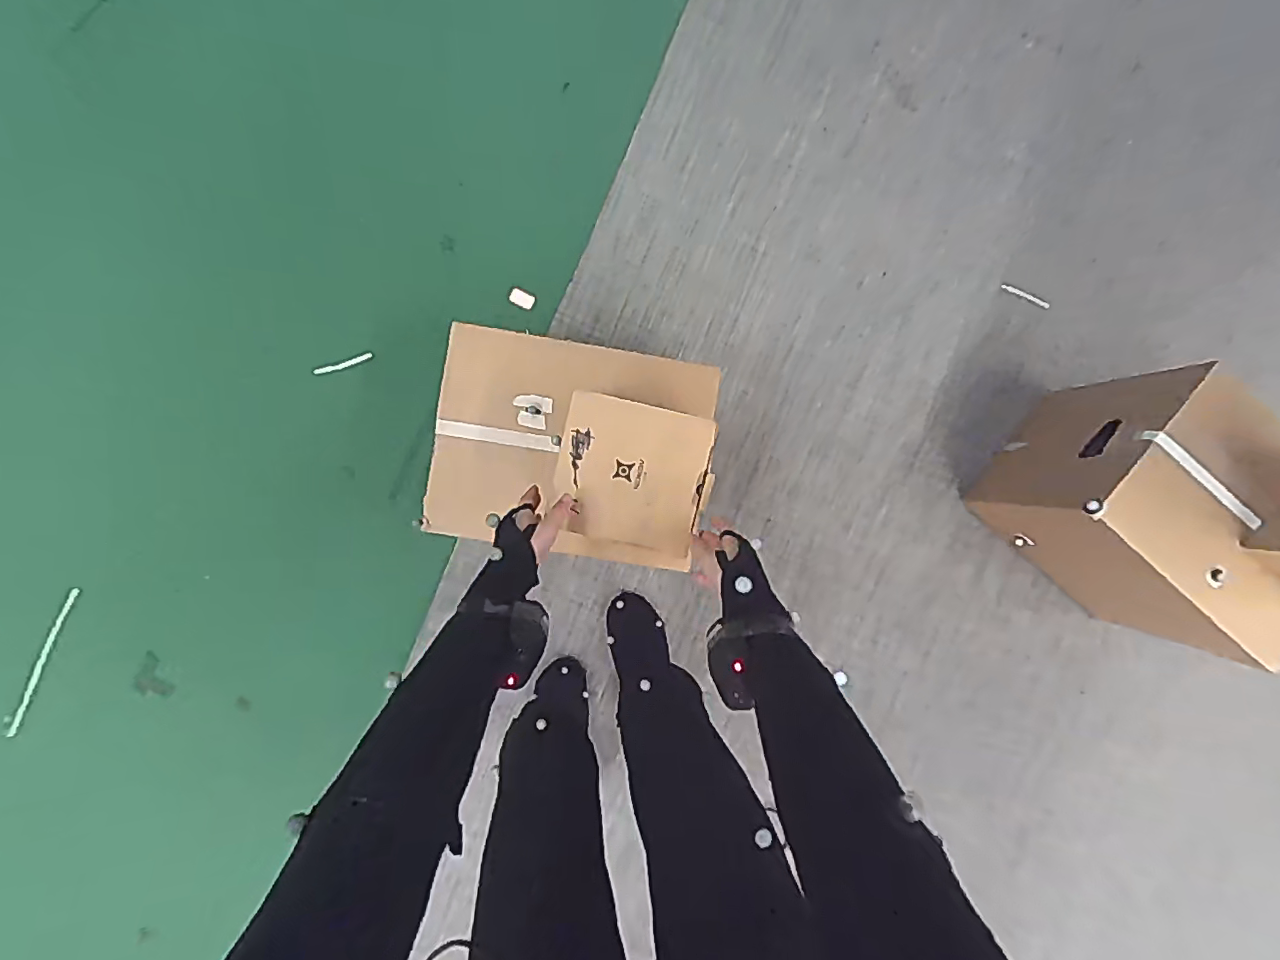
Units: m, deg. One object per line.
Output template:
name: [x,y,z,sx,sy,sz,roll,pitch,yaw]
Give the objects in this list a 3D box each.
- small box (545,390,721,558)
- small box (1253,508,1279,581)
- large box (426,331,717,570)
small box: [-0.011,-0.009,0.705,0.179,0.176,0.168,13,91,-3]
small box: [1.042,0.092,0.751,0.168,0.176,0.179,42,88,-2]
large box: [-0.101,-0.044,0.948,0.408,0.320,0.320,9,90,-1]
